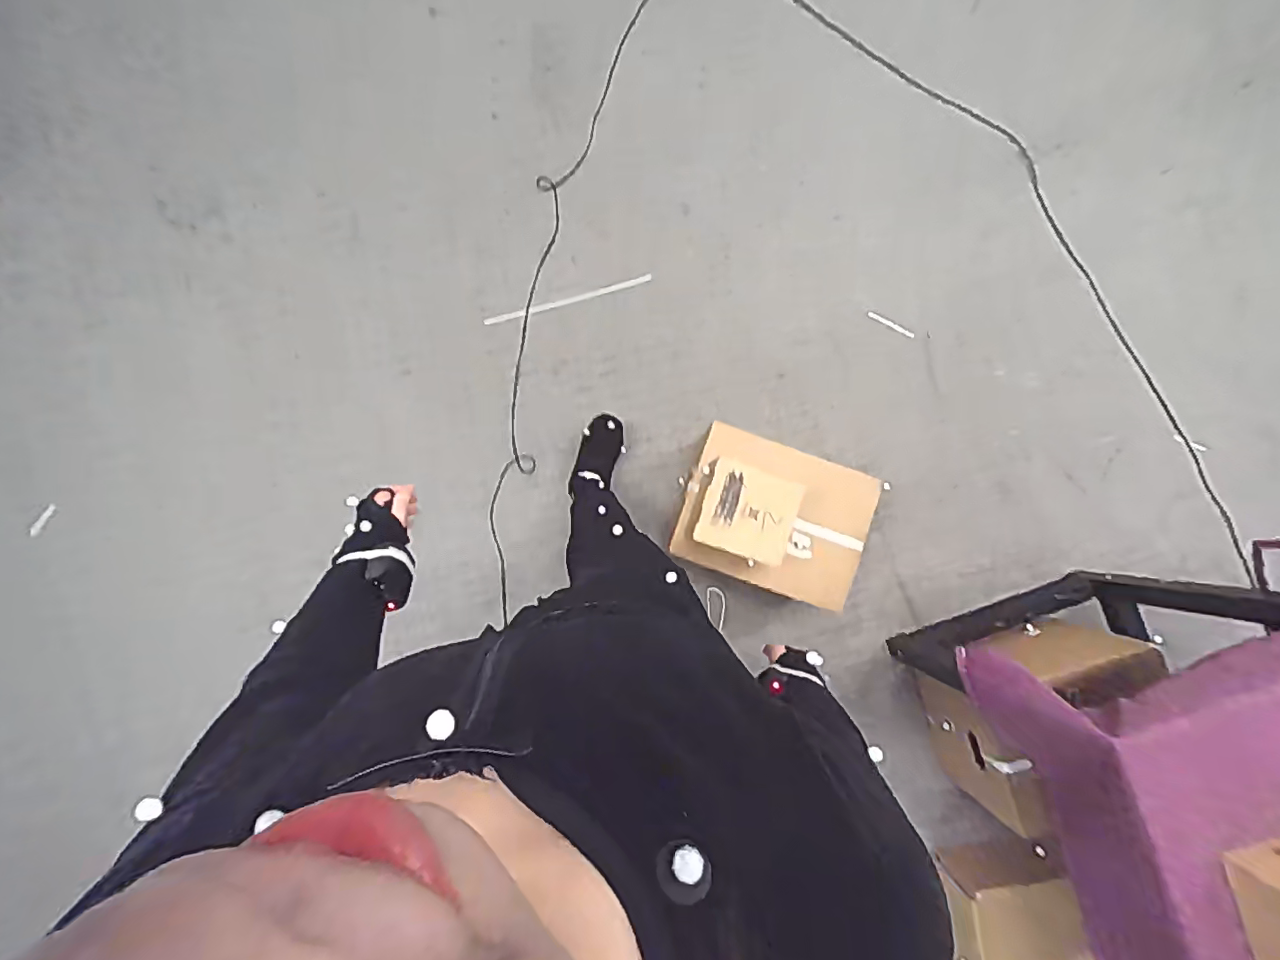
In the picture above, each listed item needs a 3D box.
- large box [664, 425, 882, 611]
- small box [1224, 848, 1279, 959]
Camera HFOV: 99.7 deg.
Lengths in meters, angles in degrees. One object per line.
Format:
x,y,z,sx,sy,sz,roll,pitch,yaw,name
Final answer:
0.299,0.092,1.338,0.408,0.320,0.320,20,87,1,large box
0.871,0.563,0.641,0.168,0.176,0.179,-14,85,-1,small box
